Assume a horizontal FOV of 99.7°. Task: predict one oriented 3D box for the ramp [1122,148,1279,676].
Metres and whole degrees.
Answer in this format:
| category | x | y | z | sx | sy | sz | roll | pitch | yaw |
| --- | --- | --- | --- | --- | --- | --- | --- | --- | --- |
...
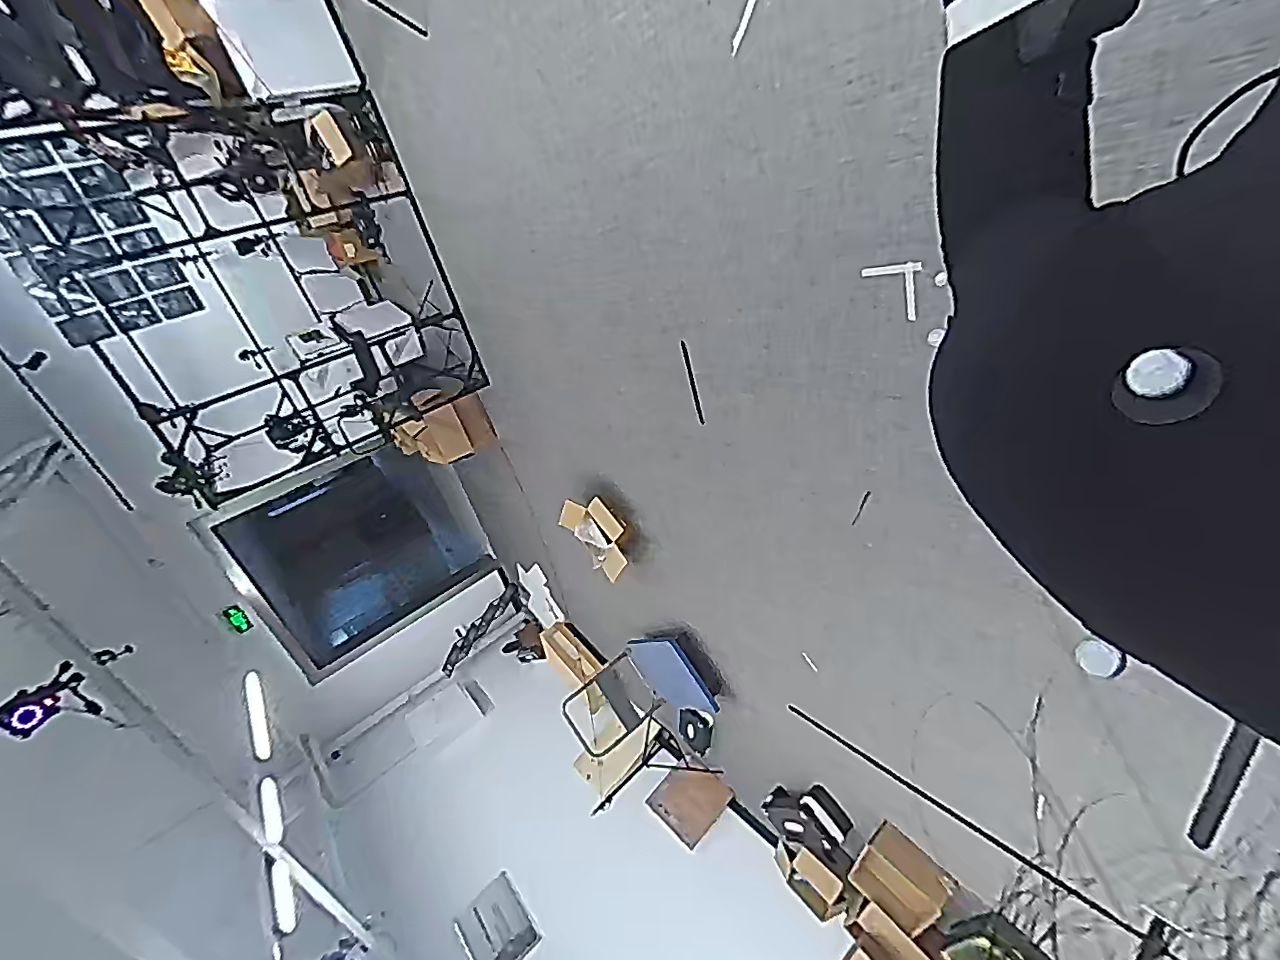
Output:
| category | x | y | z | sx | sy | sz | roll | pitch | yaw |
| --- | --- | --- | --- | --- | --- | --- | --- | --- | --- |
| ramp | 1.261 | -0.060 | 0.947 | 0.509 | 0.206 | 0.991 | 18 | 133 | 50 |
